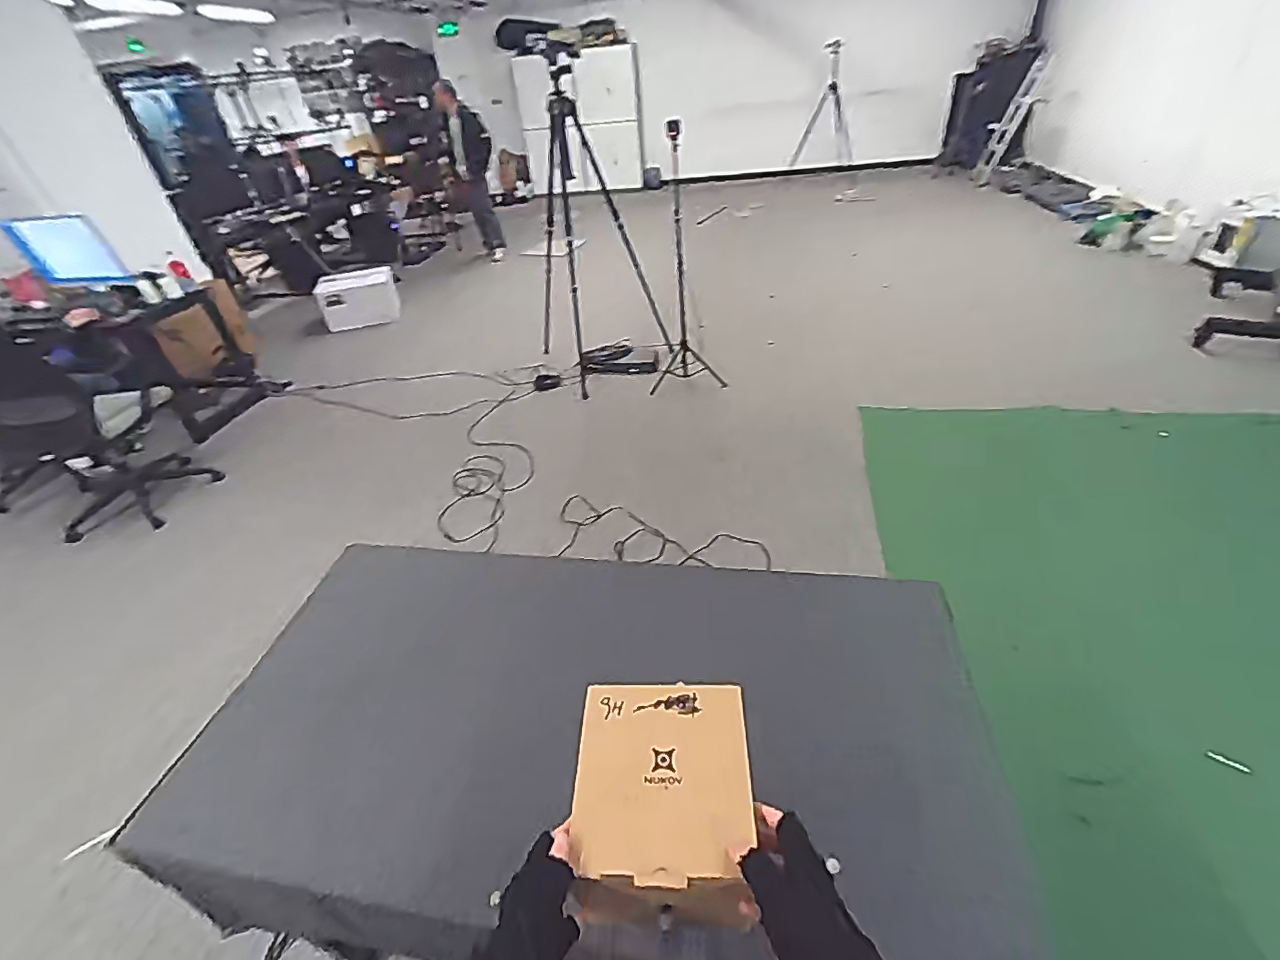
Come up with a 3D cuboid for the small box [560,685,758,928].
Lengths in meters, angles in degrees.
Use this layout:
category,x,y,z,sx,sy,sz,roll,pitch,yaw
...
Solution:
category,x,y,z,sx,sy,sz,roll,pitch,yaw
small box,0.024,0.331,0.551,0.168,0.176,0.179,-1,41,3
